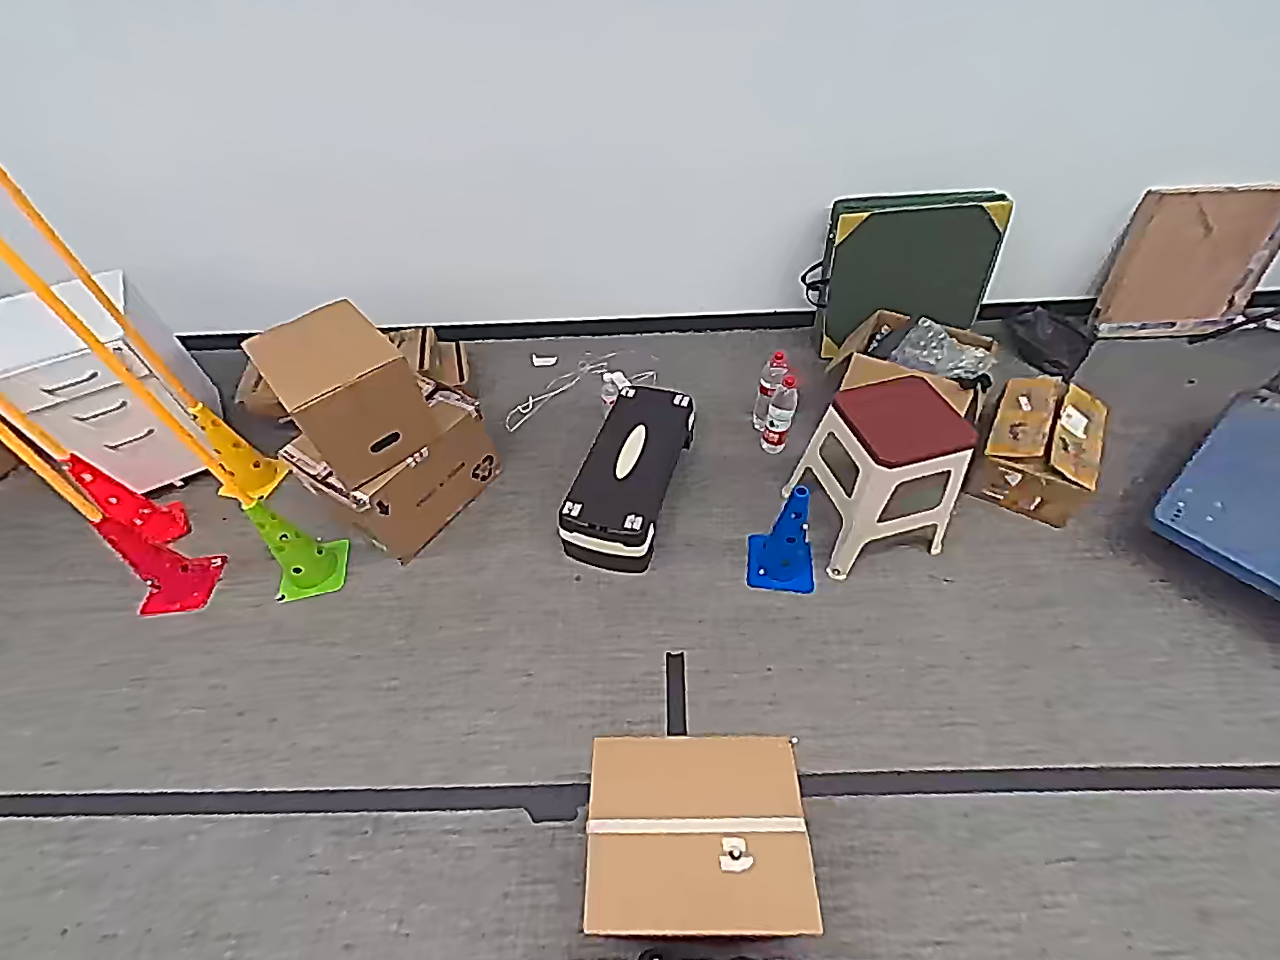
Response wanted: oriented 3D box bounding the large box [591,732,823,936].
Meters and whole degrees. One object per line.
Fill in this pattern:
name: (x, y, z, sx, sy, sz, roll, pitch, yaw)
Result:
large box: (0.112, 0.735, 1.119, 0.408, 0.320, 0.320, -1, 50, 1)
